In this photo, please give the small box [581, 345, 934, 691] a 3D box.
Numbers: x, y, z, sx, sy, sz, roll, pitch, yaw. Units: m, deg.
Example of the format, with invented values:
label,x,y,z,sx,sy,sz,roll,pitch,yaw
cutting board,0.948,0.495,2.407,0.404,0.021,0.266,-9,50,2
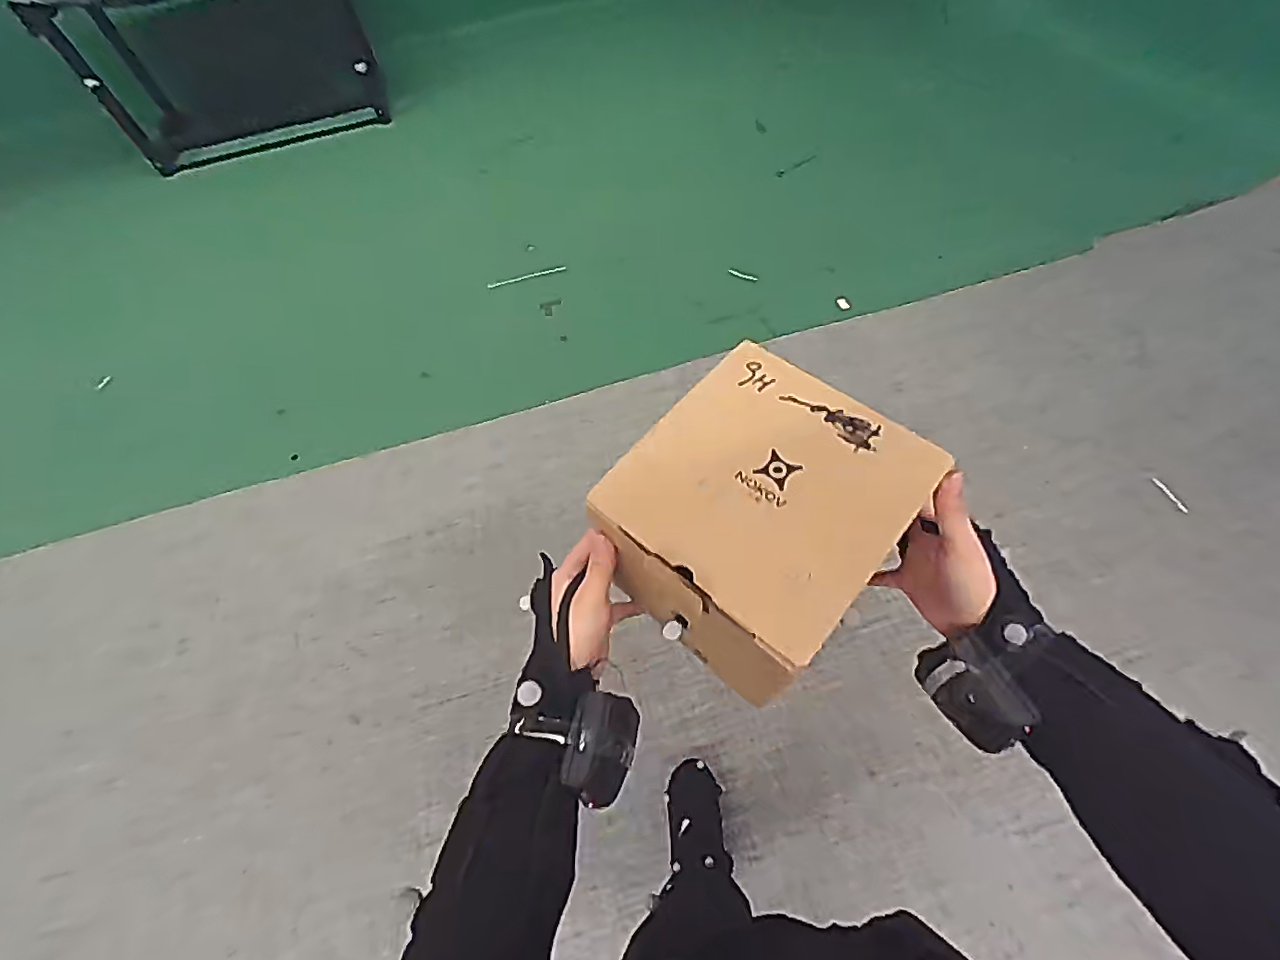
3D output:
label,x,y,z,sx,sy,sz,roll,pitch,yaw
small box,0.083,0.038,0.423,0.168,0.176,0.179,37,70,22
